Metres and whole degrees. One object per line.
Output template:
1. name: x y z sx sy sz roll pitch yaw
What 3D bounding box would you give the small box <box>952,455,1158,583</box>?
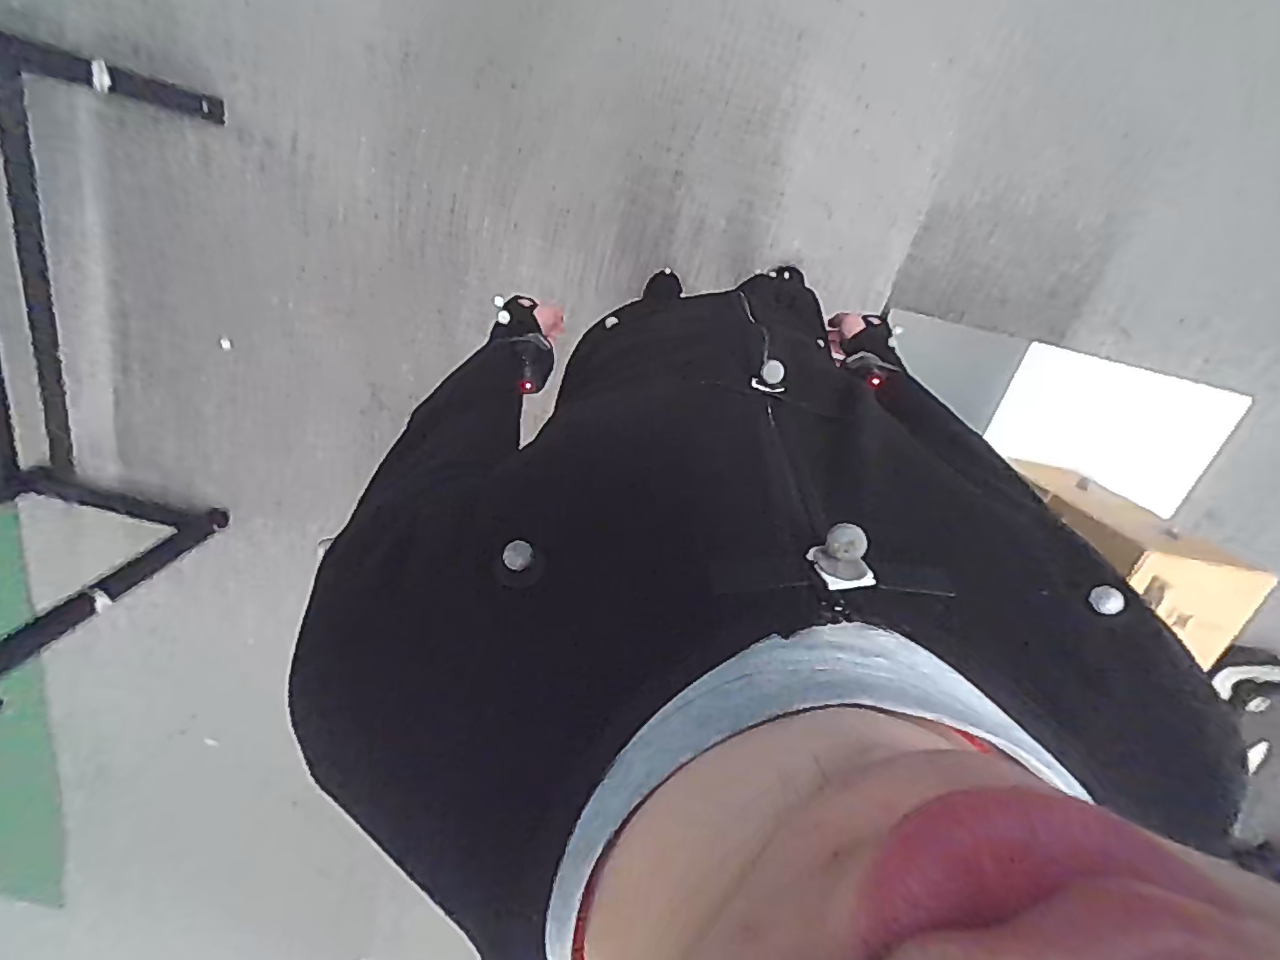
1. small box: 0.670 0.068 0.897 0.179 0.176 0.168 9 112 -5

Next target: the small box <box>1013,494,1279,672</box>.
1. small box: 0.670 0.132 0.745 0.179 0.176 0.168 10 113 -5
